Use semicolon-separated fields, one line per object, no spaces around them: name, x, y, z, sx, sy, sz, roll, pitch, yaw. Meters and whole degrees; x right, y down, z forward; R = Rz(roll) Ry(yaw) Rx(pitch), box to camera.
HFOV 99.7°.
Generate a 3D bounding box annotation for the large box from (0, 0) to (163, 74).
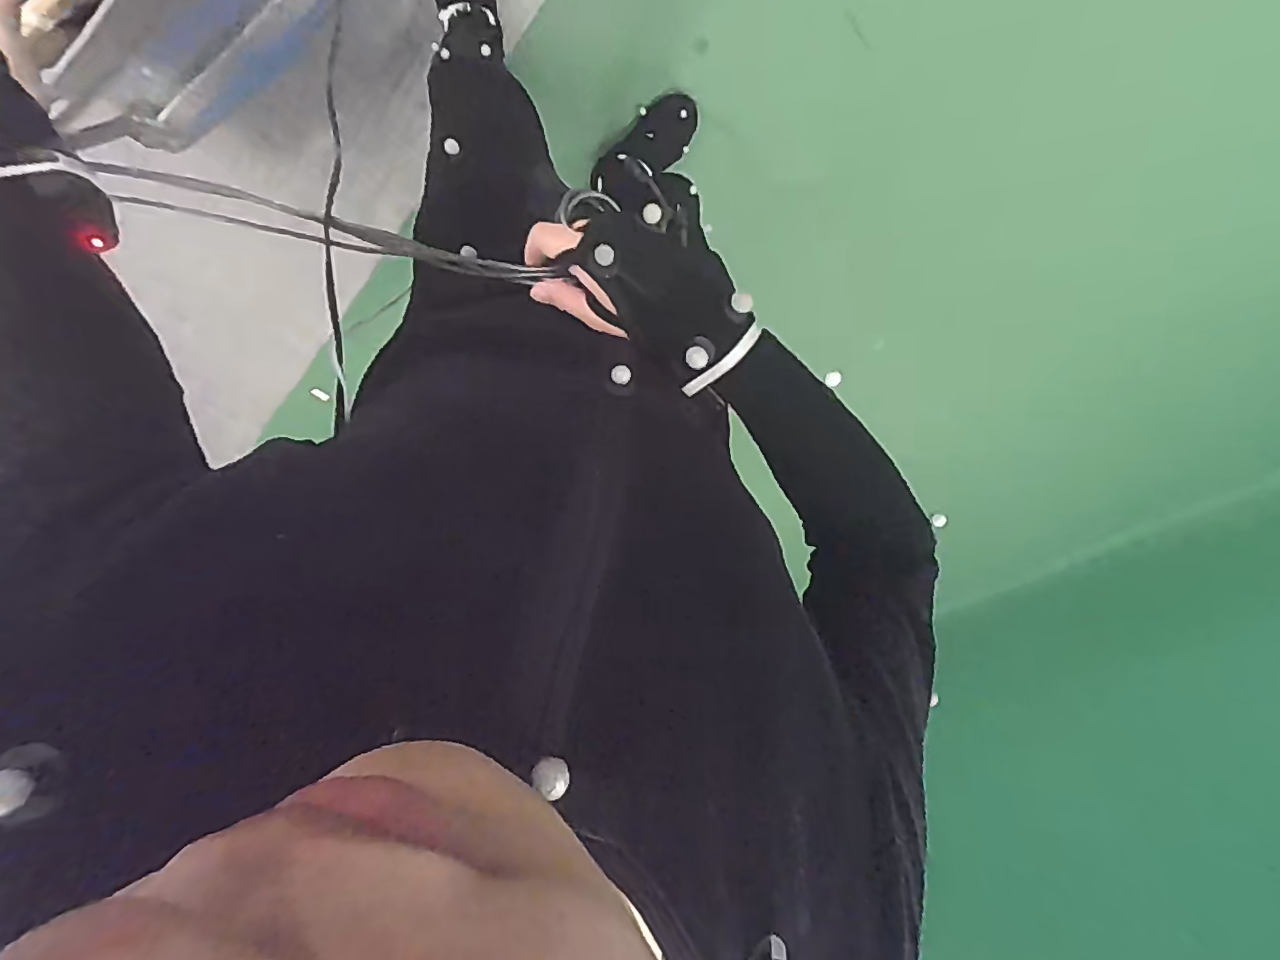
large box;-0.865;-0.830;0.673;0.320;0.320;0.408;-21;134;17
